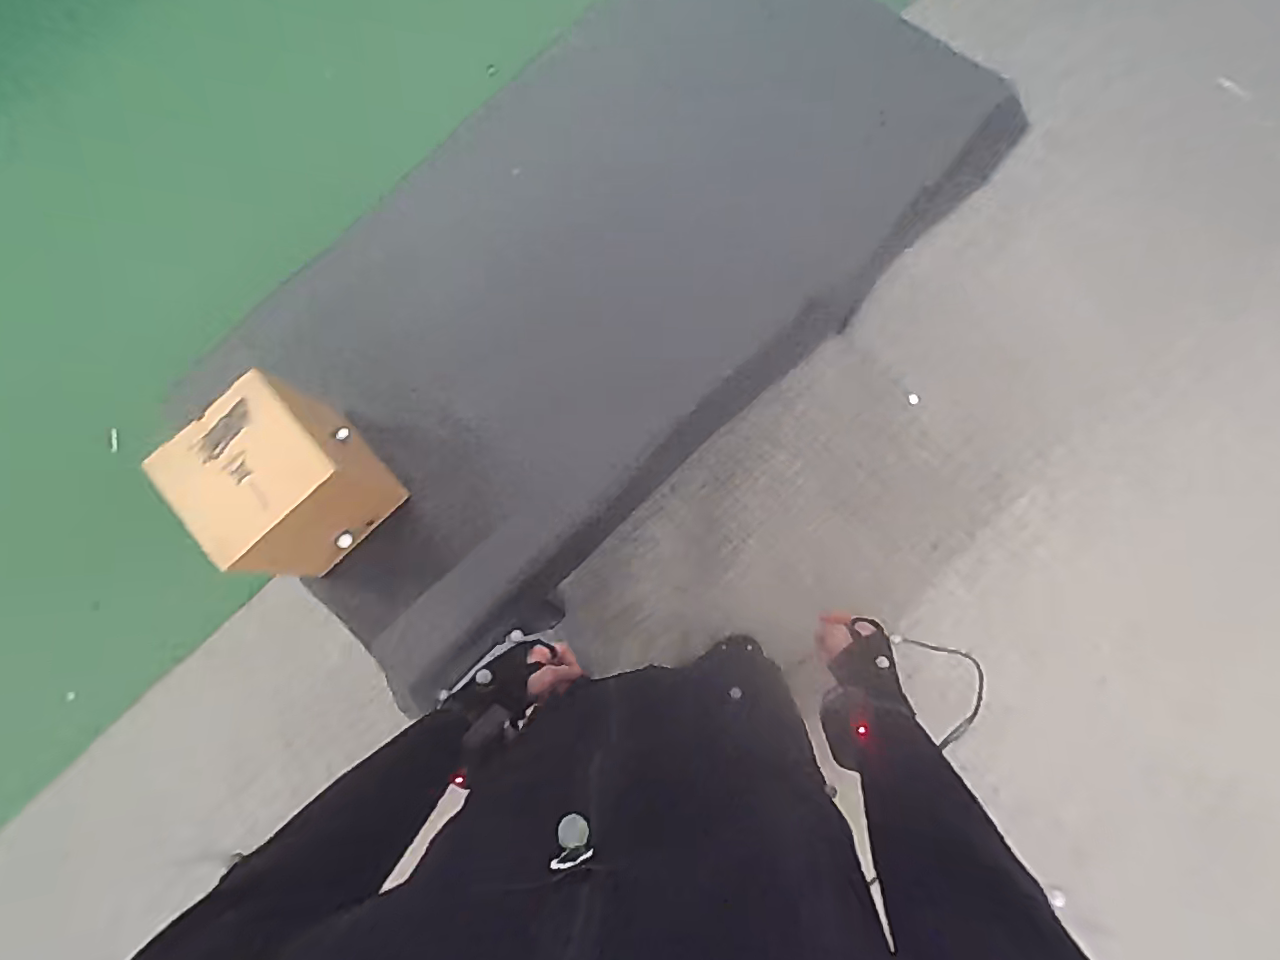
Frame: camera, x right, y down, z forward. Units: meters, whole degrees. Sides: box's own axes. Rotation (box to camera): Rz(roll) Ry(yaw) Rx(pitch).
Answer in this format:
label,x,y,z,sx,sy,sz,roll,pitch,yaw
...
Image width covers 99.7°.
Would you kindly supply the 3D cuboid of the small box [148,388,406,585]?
label,x,y,z,sx,sy,sz,roll,pitch,yaw
small box,-0.446,0.021,0.692,0.168,0.176,0.179,-45,79,-5
